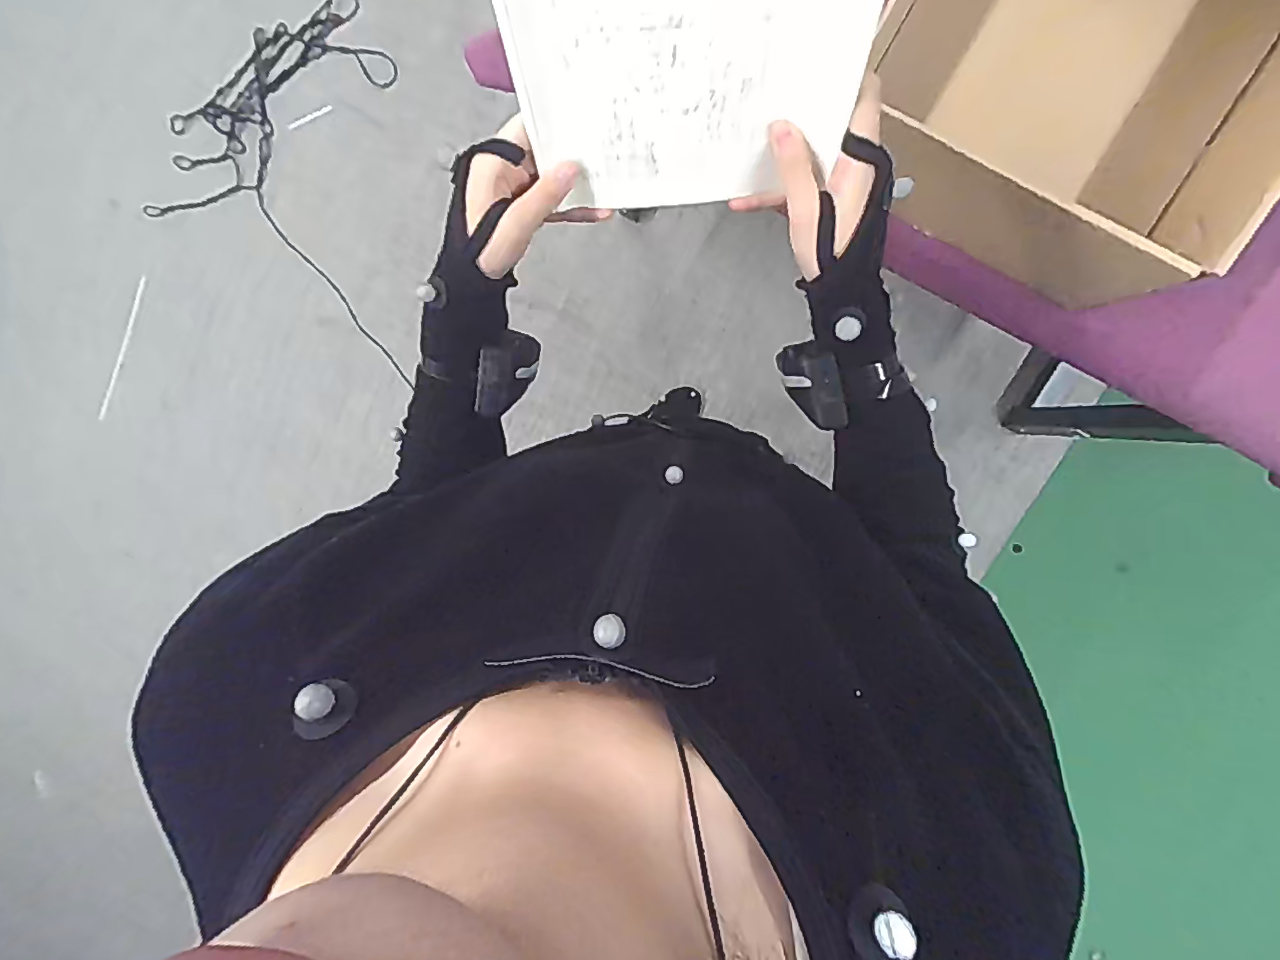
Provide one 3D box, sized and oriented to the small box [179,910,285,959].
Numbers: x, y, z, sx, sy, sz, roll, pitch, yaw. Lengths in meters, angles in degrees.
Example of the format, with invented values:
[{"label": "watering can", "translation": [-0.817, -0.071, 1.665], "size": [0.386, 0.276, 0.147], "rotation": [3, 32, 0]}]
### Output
[{"label": "small box", "translation": [-1.049, 1.233, 1.355], "size": [0.168, 0.176, 0.179], "rotation": [-32, 91, 10]}]
